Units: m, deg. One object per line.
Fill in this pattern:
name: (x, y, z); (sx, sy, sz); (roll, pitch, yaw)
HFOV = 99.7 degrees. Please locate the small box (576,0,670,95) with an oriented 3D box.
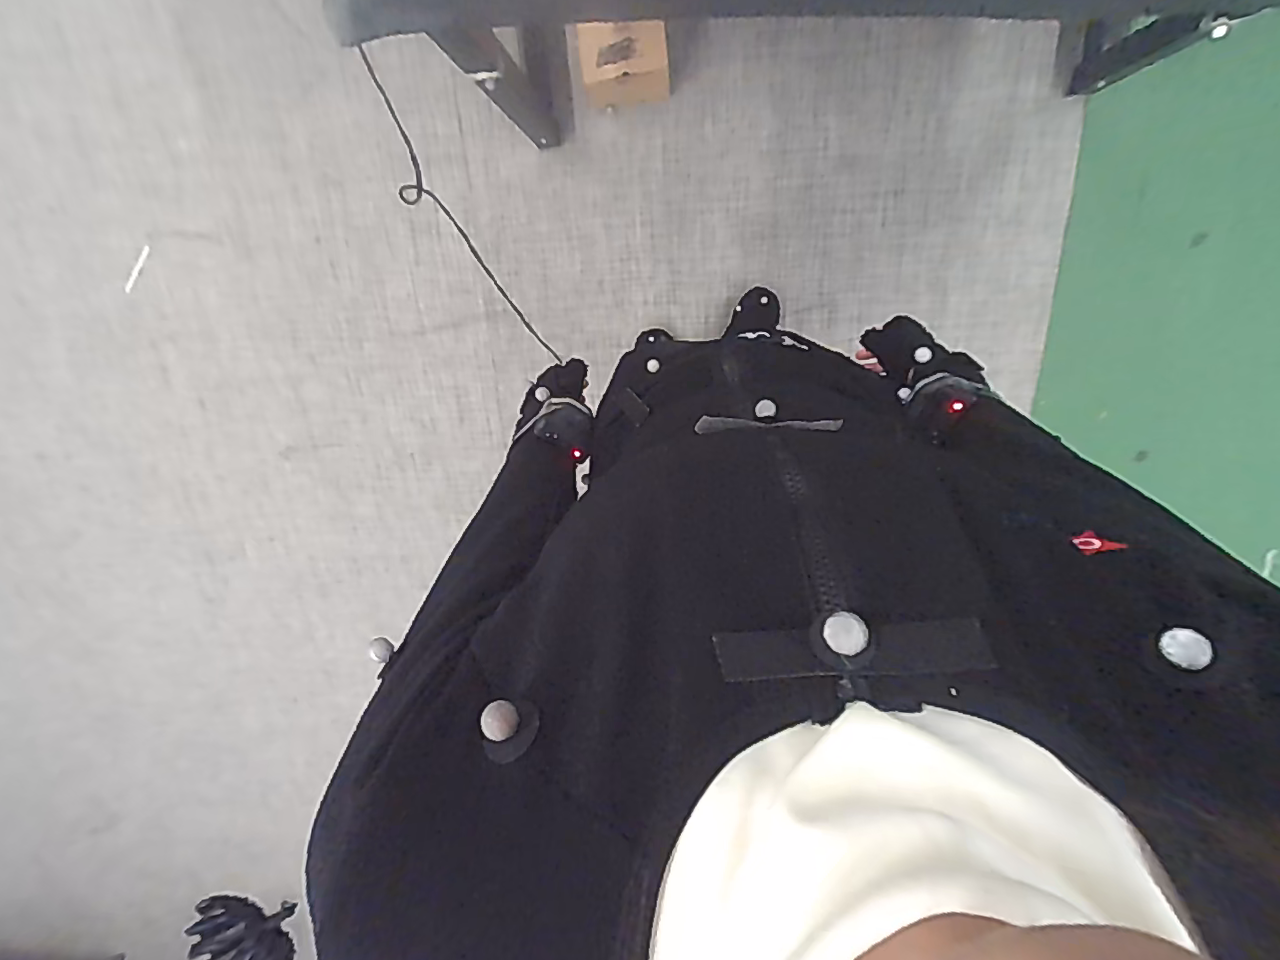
small box: (-0.030, -0.894, 1.074); (0.168, 0.176, 0.179); (-5, 109, 5)
